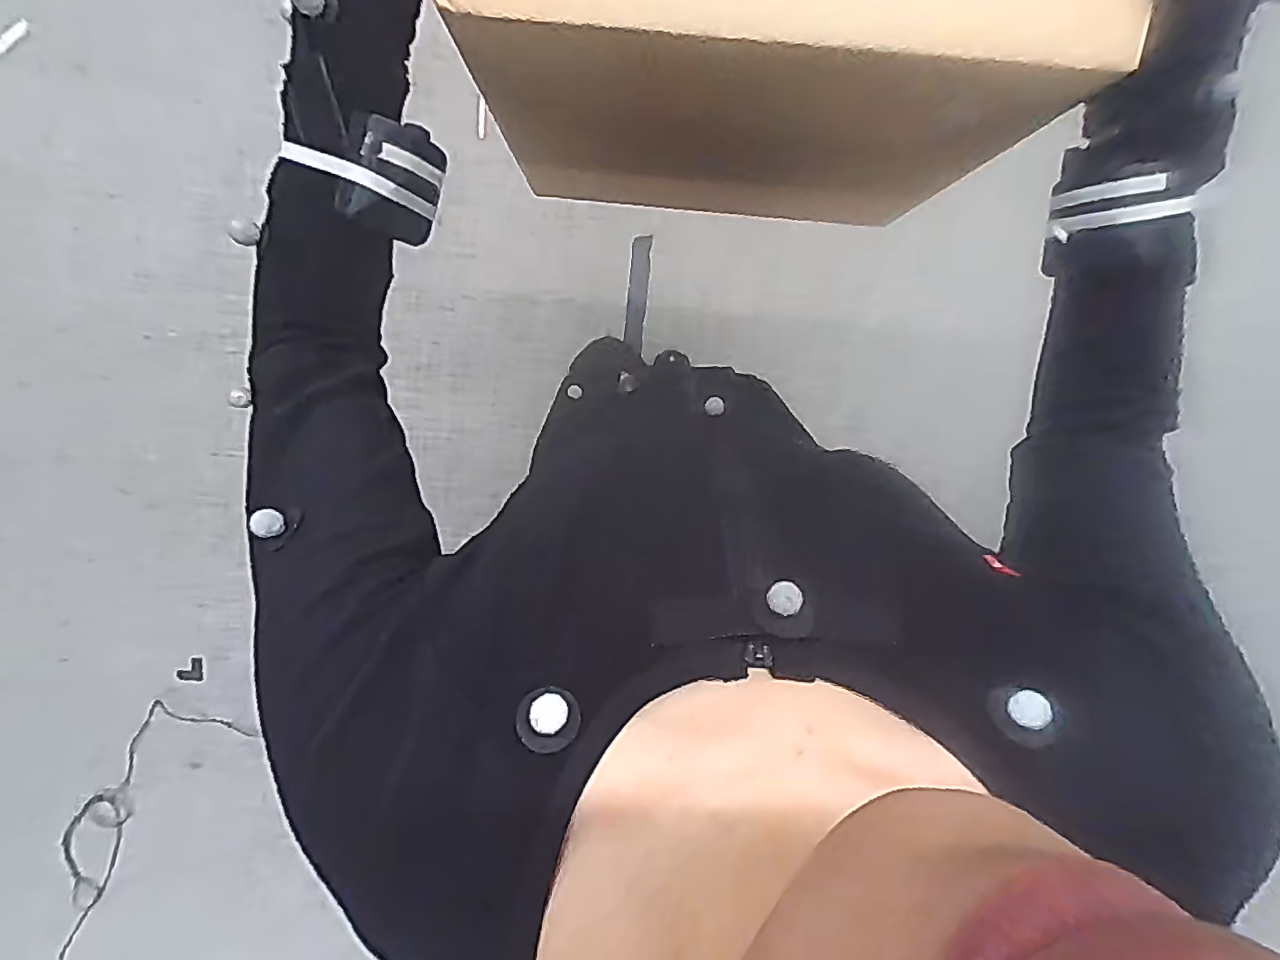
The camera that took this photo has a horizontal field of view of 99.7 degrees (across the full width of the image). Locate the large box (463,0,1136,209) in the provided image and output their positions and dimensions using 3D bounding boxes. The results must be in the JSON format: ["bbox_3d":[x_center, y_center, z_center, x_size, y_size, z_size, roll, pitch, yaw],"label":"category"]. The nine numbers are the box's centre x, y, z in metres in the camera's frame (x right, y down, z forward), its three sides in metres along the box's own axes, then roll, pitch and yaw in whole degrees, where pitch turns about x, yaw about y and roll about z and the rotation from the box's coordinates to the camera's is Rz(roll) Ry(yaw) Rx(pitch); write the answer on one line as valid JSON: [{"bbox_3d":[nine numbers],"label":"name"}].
[{"bbox_3d":[0.094,-0.438,0.435,0.408,0.320,0.320,3,101,-2],"label":"large box"}]
